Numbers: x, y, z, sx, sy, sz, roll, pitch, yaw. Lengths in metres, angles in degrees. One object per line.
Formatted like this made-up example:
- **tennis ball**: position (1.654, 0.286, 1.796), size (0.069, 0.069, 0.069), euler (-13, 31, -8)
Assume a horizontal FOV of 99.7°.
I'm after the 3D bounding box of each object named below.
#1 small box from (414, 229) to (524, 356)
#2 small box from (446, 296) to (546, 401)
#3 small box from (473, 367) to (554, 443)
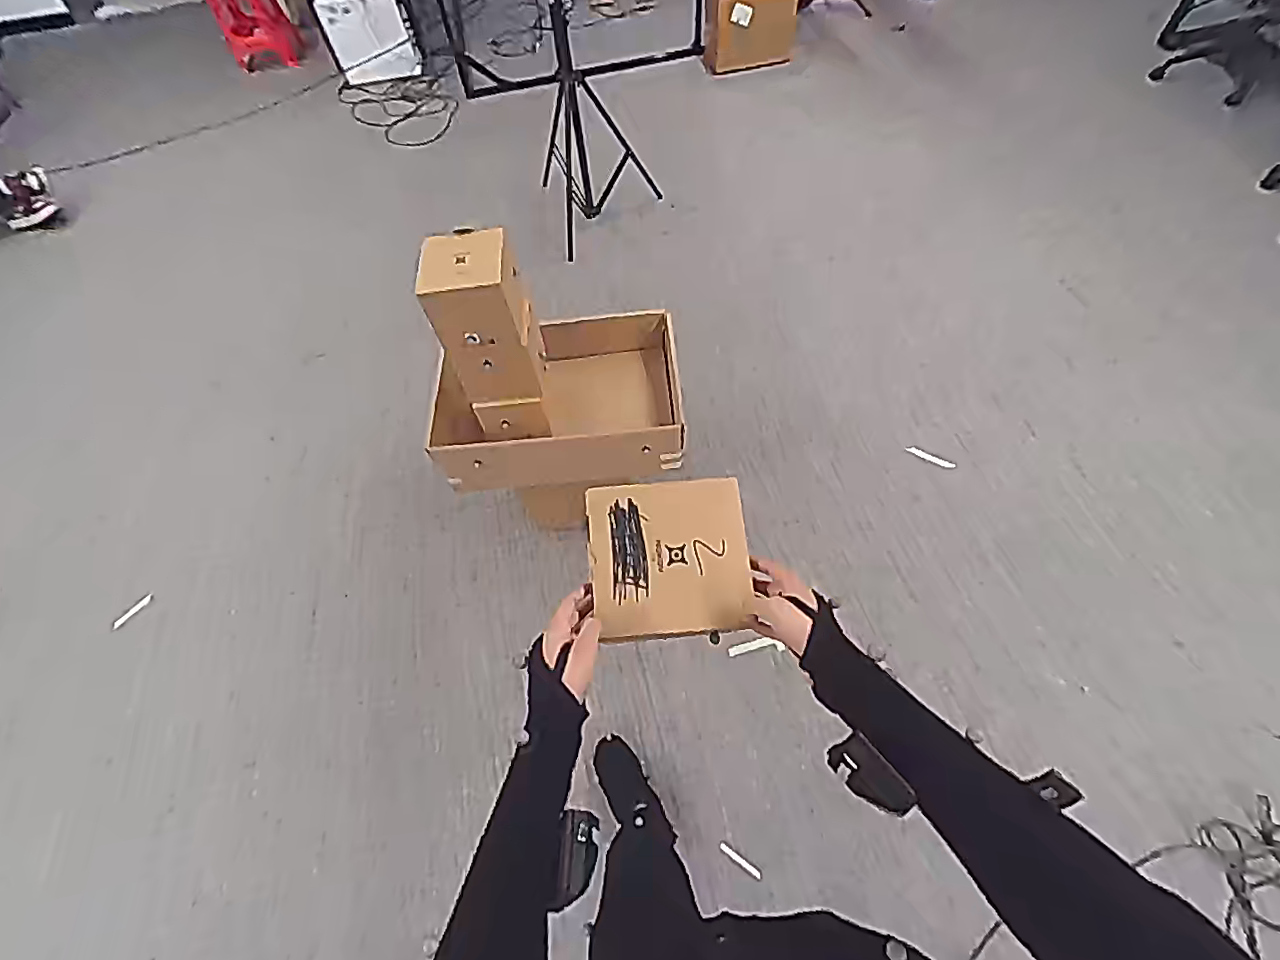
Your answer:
- **small box**: position (-0.340, -0.382, 1.109), size (0.168, 0.176, 0.179), euler (-7, 58, 1)
- **small box**: position (-0.325, -0.298, 1.249), size (0.179, 0.176, 0.168), euler (-5, 59, 1)
- **small box**: position (-0.318, -0.207, 1.386), size (0.168, 0.176, 0.179), euler (-6, 58, 0)
